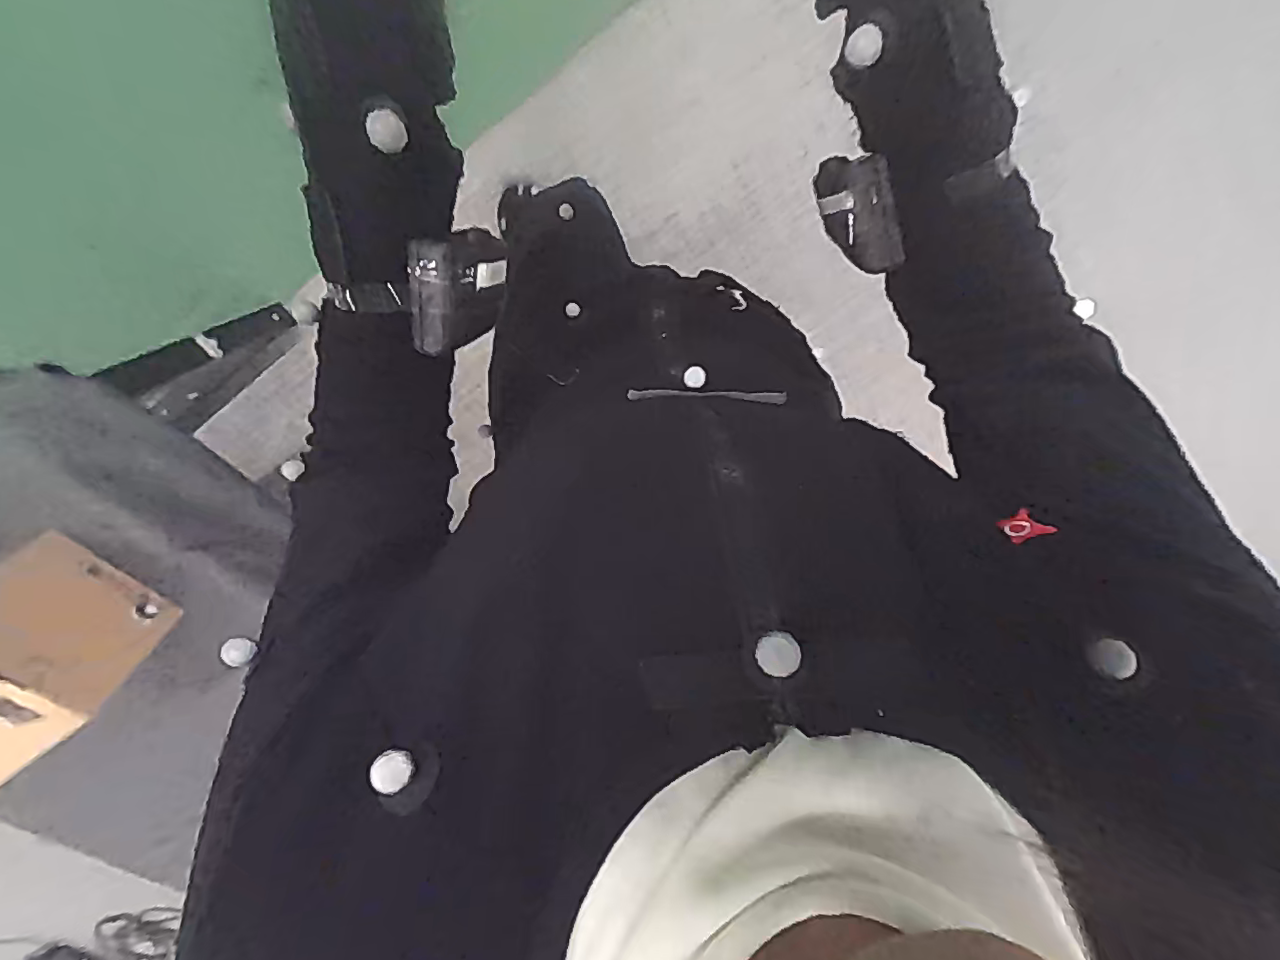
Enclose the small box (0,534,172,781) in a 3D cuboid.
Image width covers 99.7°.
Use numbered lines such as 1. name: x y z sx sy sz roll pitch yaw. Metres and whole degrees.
1. small box: -0.690 0.193 0.609 0.179 0.176 0.168 -33 118 11
